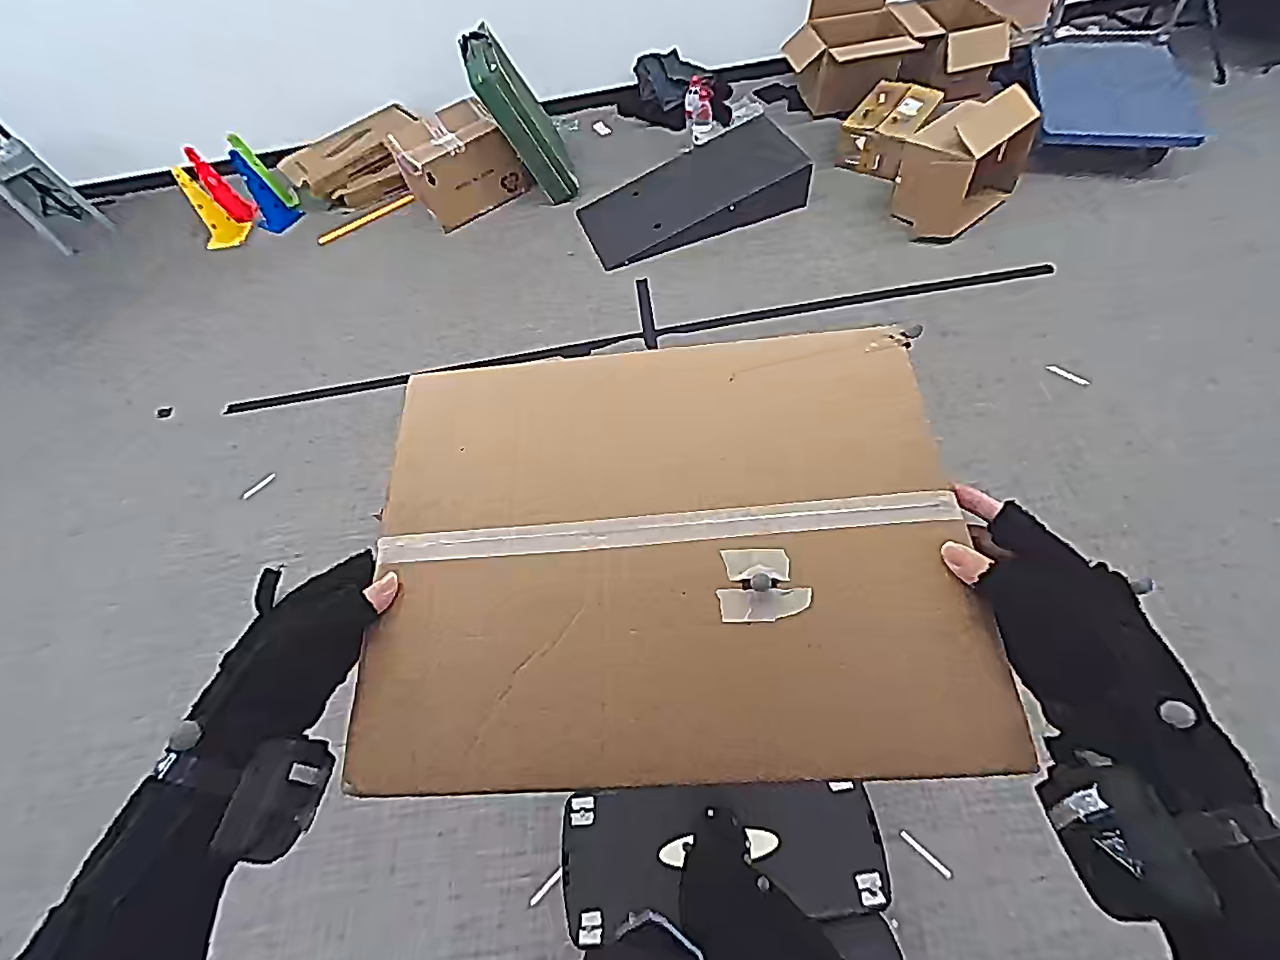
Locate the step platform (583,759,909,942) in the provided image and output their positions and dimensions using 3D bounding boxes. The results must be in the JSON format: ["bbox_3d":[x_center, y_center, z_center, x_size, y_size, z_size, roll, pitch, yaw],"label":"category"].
[{"bbox_3d":[0.216,0.801,1.209,0.684,0.204,0.286,-9,59,1],"label":"step platform"}]

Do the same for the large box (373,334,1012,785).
[{"bbox_3d":[0.031,0.099,0.528,0.408,0.320,0.320,-5,66,5],"label":"large box"}]
